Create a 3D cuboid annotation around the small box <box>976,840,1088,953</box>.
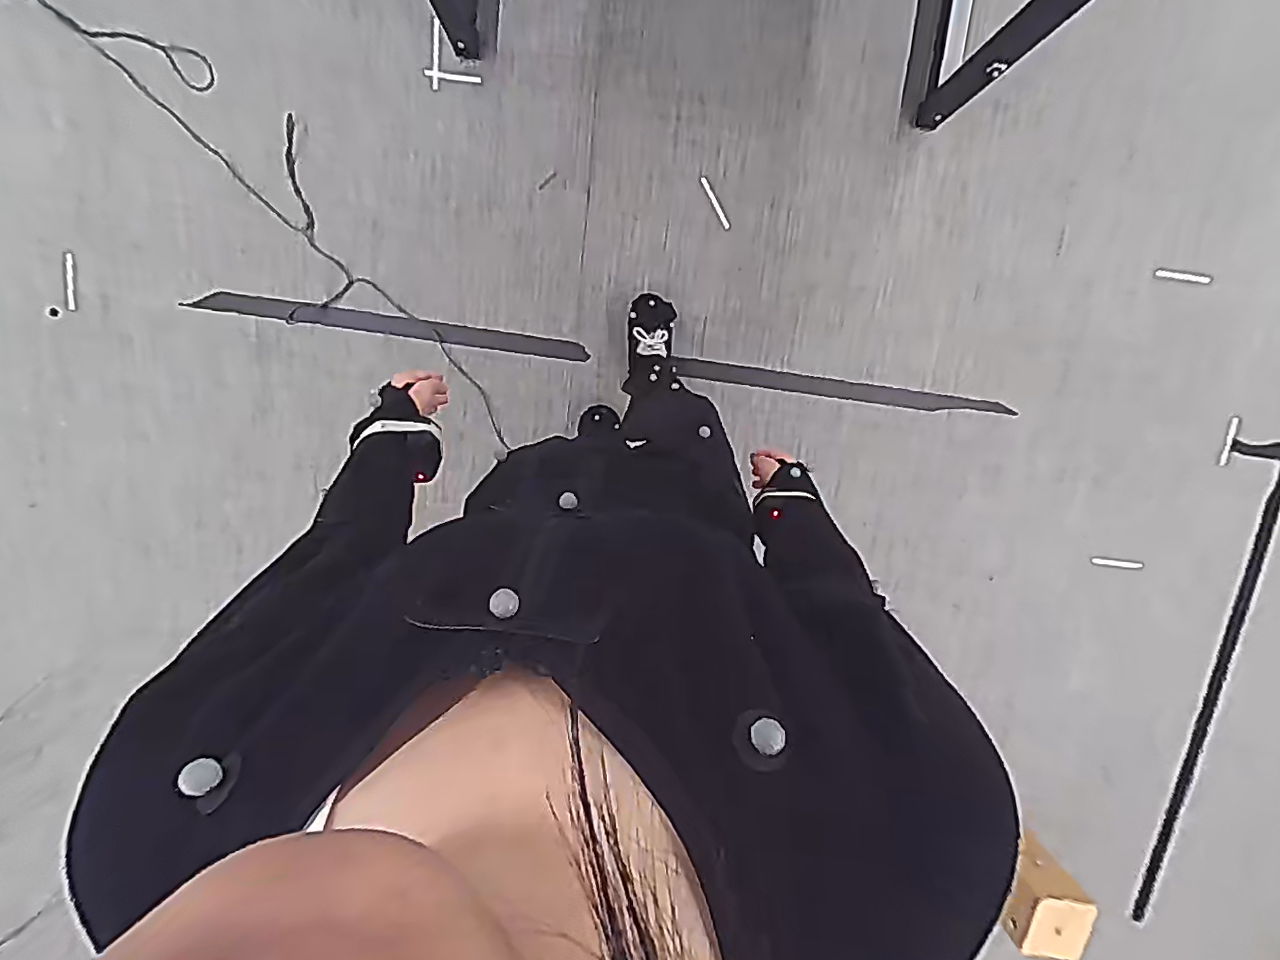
[{"bbox_3d":[1.076,1.153,1.503,0.168,0.176,0.179,10,99,-5],"label":"small box"}]
